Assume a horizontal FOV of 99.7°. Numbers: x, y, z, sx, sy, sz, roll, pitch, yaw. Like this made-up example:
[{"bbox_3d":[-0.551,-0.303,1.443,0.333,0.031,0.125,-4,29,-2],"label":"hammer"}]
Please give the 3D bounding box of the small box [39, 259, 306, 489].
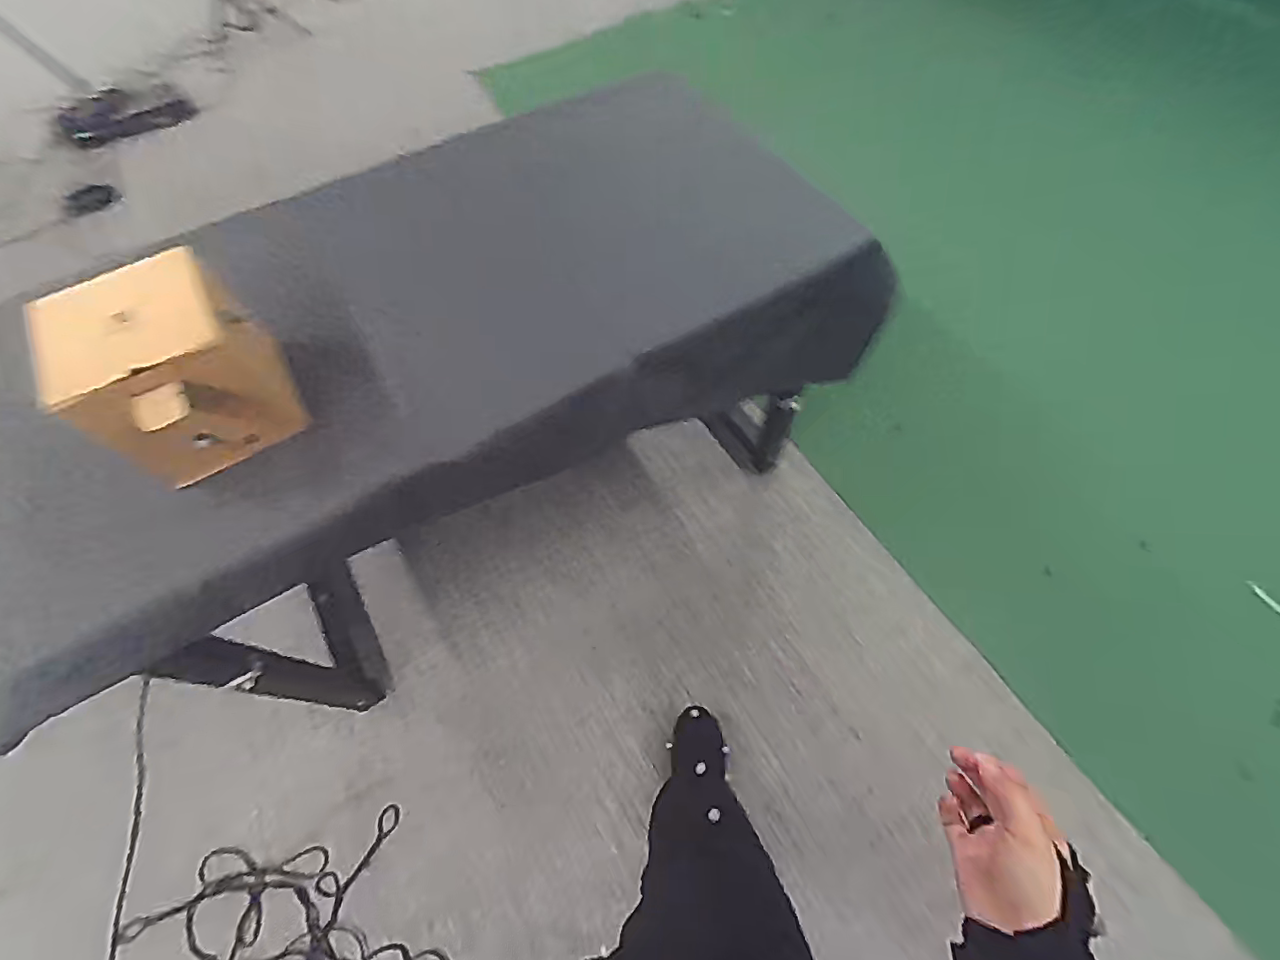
[{"bbox_3d":[-0.546,-0.121,0.650,0.168,0.176,0.179,-31,65,-14],"label":"small box"}]
